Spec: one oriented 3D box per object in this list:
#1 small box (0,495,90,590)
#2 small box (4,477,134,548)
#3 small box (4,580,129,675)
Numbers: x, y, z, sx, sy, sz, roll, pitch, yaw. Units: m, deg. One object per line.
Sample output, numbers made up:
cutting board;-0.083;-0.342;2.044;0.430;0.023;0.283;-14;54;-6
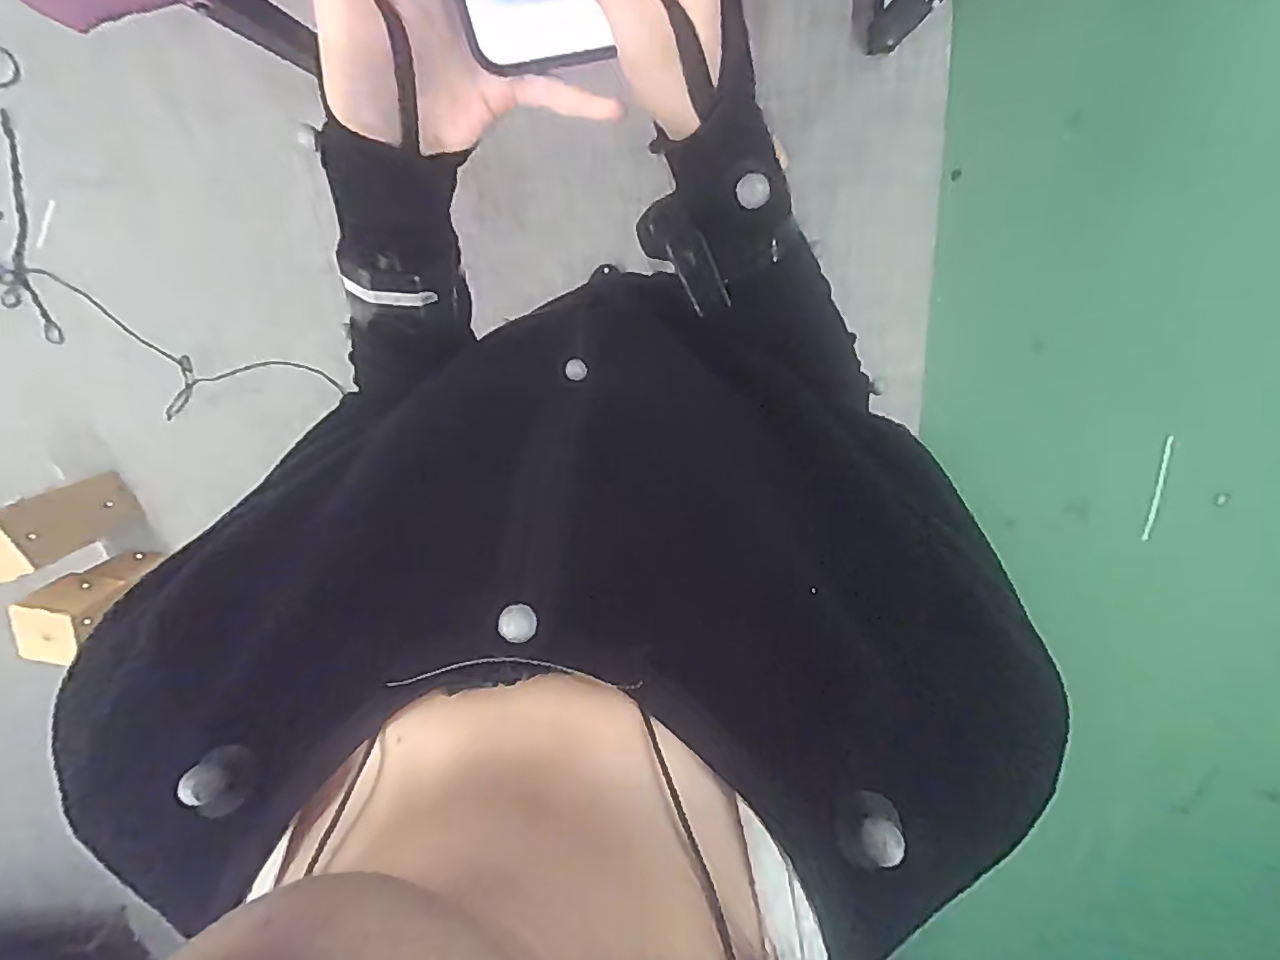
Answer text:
small box;-1.624;0.165;1.414;0.168;0.176;0.179;-16;109;7
small box;-1.632;0.103;1.565;0.179;0.176;0.168;-12;109;7
small box;-1.581;0.407;1.505;0.168;0.176;0.179;11;109;-1
